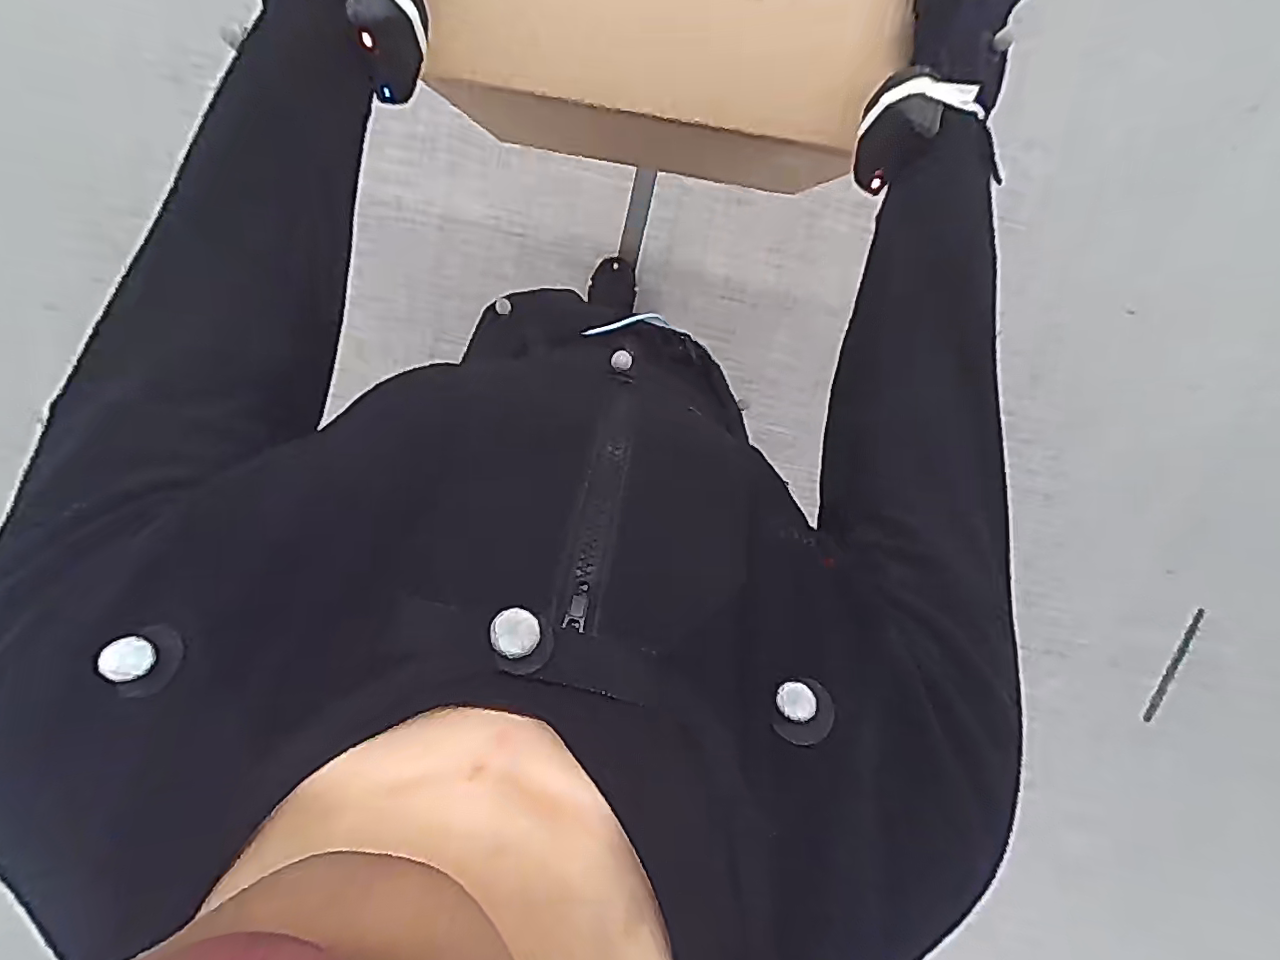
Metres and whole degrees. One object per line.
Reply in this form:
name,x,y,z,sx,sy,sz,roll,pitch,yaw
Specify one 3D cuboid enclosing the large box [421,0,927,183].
large box,0.036,-0.509,0.531,0.408,0.320,0.320,8,113,-4
